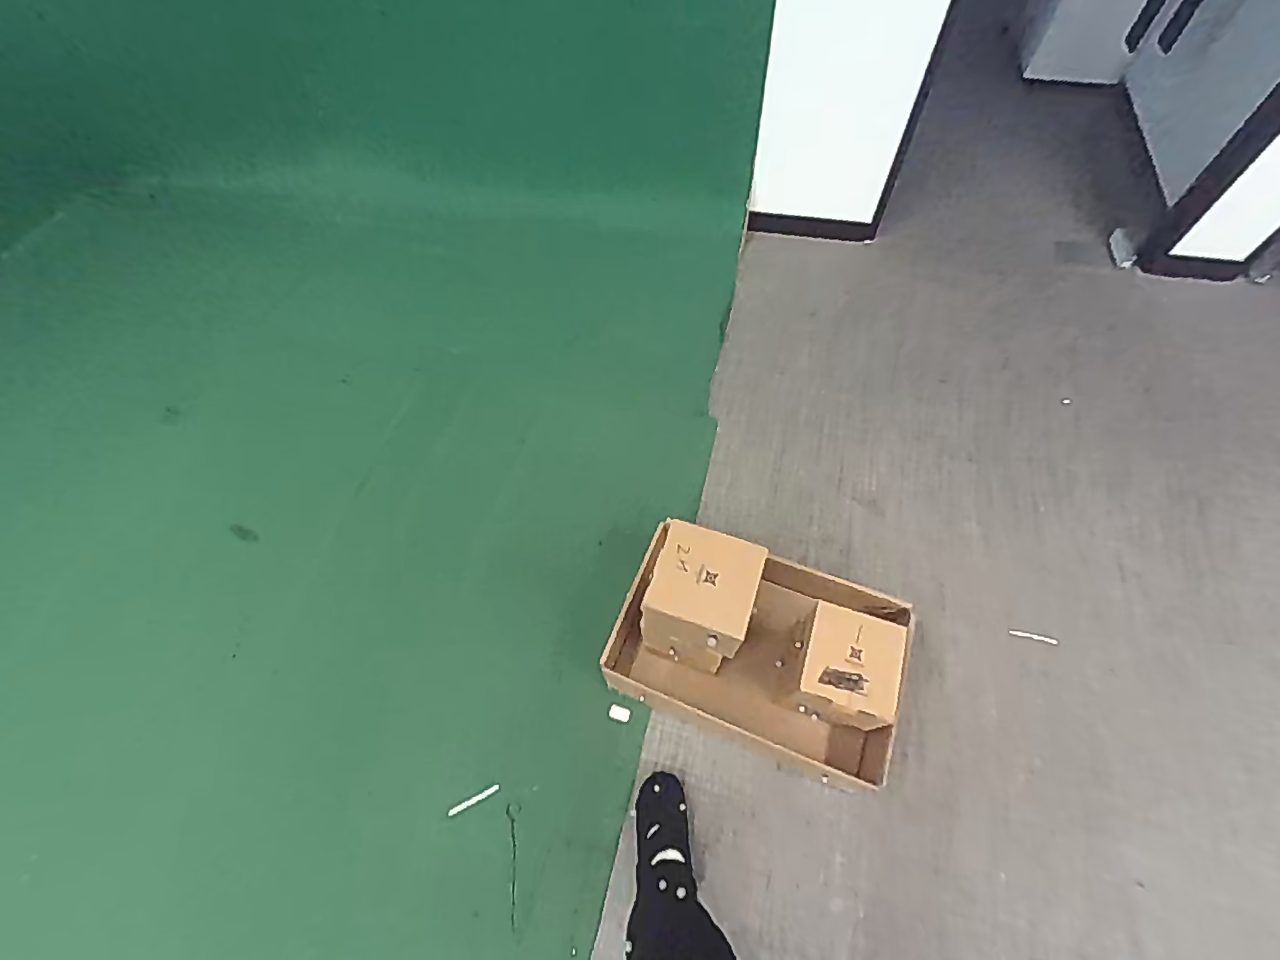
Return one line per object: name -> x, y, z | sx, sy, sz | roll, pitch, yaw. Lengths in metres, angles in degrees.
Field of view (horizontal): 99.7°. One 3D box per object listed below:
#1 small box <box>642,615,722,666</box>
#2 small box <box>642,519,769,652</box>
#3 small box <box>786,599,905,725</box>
small box -> 0.110, 0.267, 1.129 | 0.168, 0.176, 0.179 | 19, 65, 12
small box -> 0.114, 0.198, 0.978 | 0.179, 0.176, 0.168 | 18, 65, 11
small box -> 0.393, 0.362, 1.057 | 0.168, 0.176, 0.179 | 17, 63, 13
